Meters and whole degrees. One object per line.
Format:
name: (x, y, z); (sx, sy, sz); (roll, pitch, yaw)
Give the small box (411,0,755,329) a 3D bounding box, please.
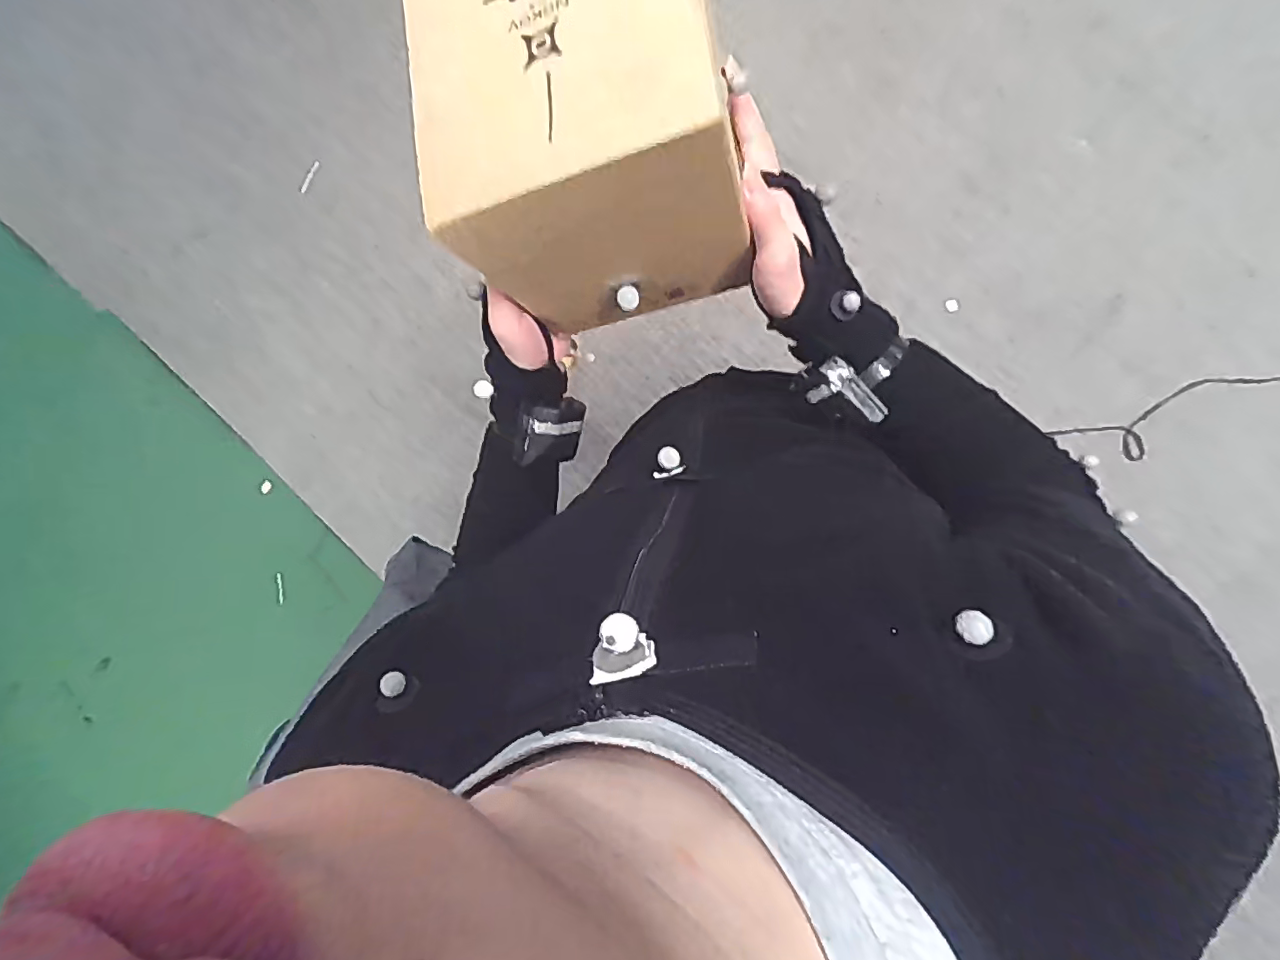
small box: (-0.024, -0.227, 0.357); (0.168, 0.176, 0.179); (-10, 80, 17)
